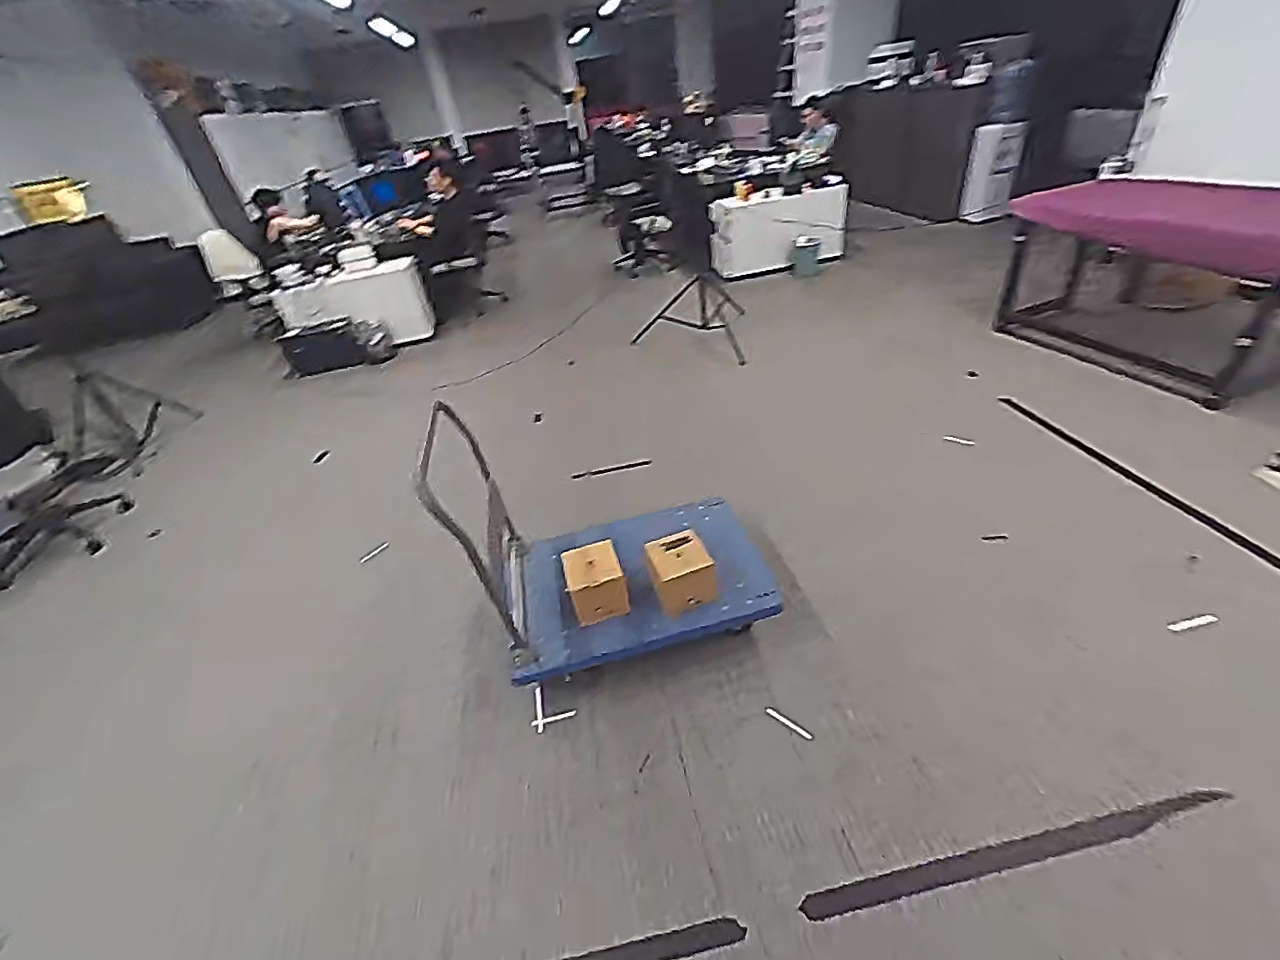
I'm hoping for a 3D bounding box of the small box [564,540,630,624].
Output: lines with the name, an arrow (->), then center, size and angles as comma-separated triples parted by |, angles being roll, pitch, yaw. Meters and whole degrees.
small box -> -0.138, 0.324, 1.722 | 0.168, 0.176, 0.179 | -15, 37, -8
